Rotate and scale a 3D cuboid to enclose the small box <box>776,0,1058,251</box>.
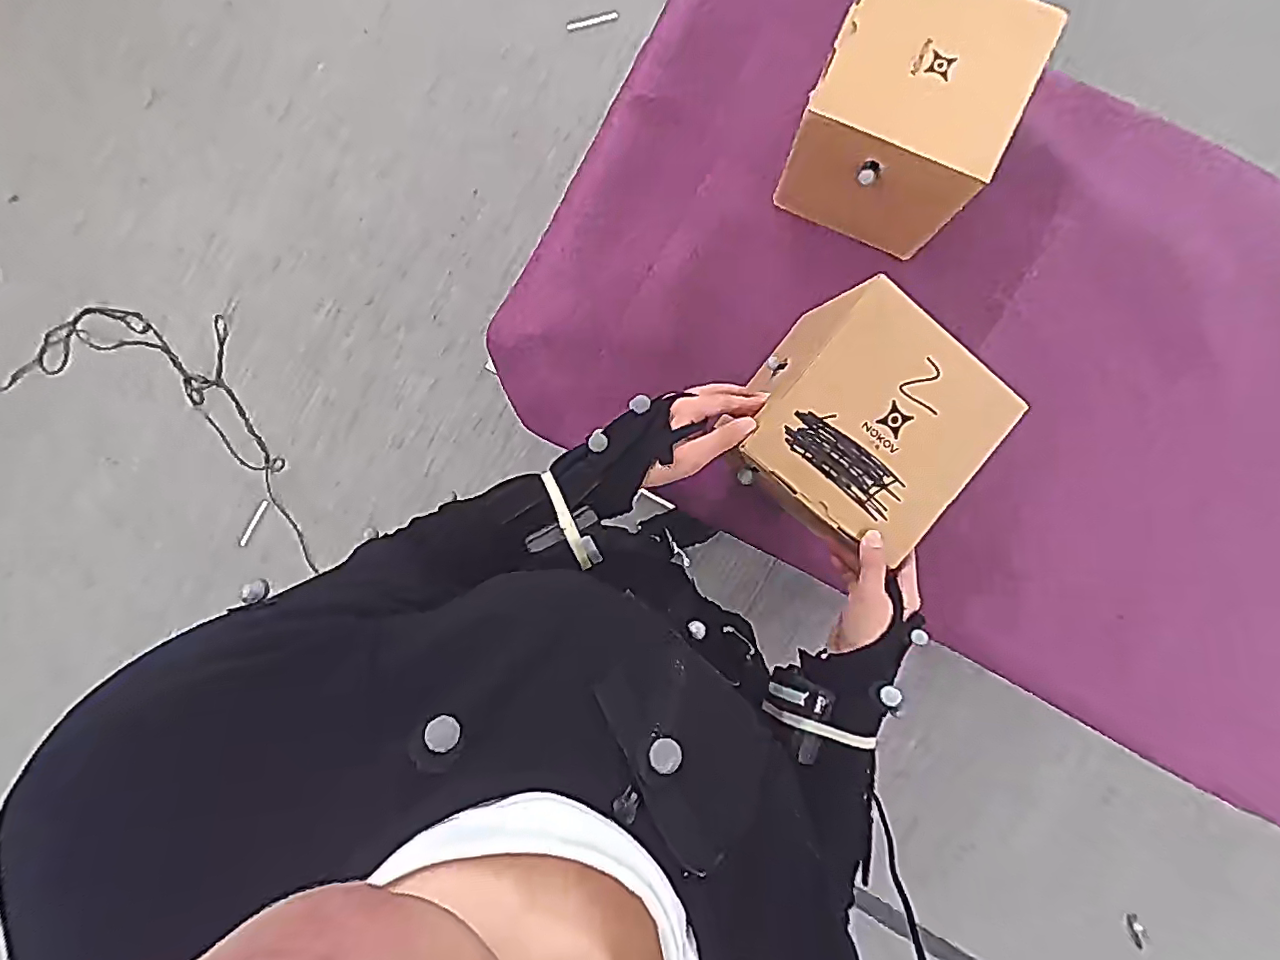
[{"bbox_3d":[0.266,-0.369,0.567,0.179,0.176,0.168,25,91,4],"label":"small box"}]
